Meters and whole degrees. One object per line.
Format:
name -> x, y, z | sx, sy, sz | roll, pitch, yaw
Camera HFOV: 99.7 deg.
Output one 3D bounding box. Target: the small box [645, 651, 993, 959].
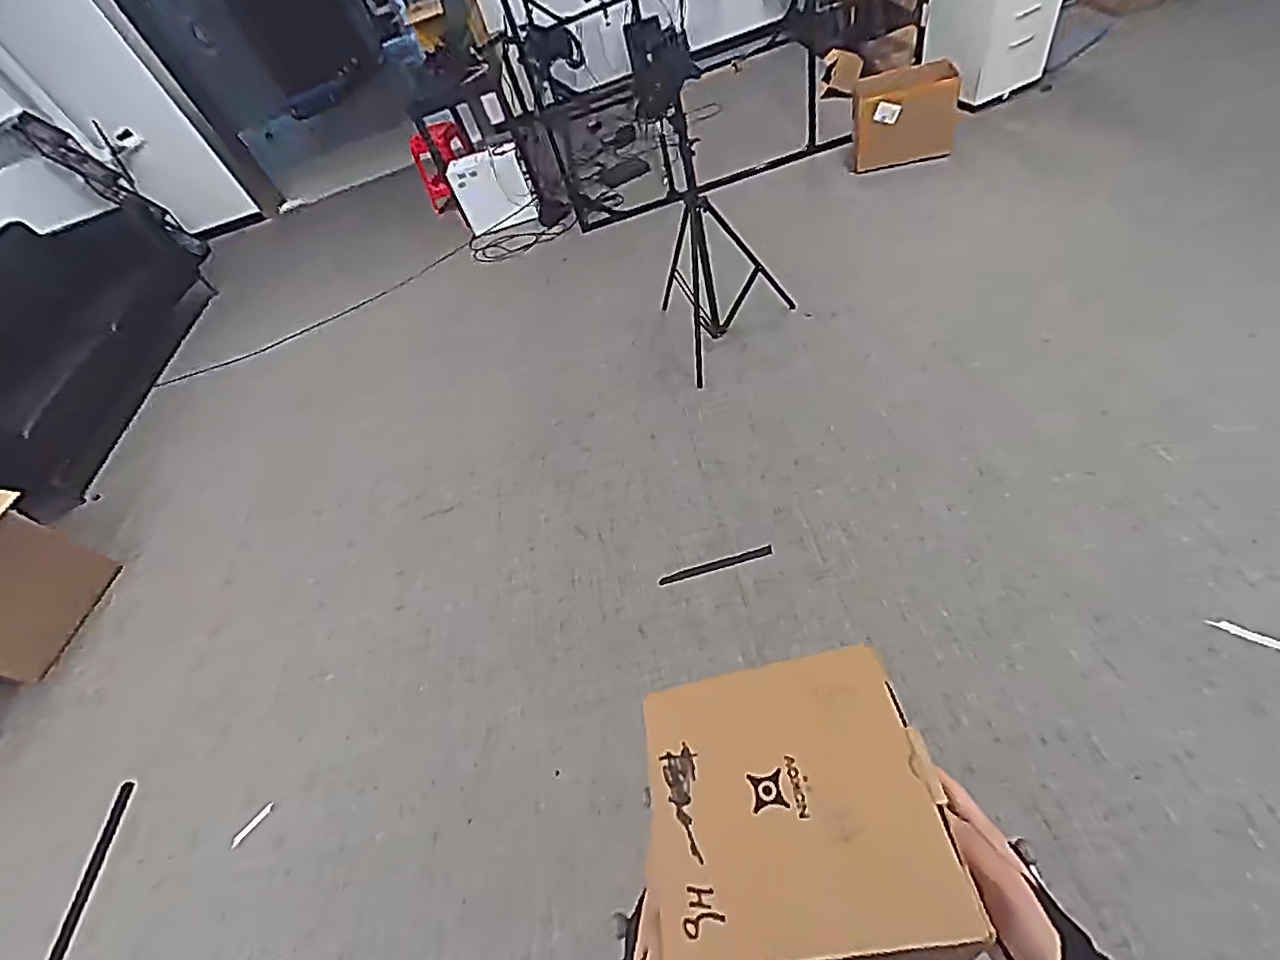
small box -> 0.115, 0.253, 0.395 | 0.179, 0.176, 0.168 | -16, 42, 9
